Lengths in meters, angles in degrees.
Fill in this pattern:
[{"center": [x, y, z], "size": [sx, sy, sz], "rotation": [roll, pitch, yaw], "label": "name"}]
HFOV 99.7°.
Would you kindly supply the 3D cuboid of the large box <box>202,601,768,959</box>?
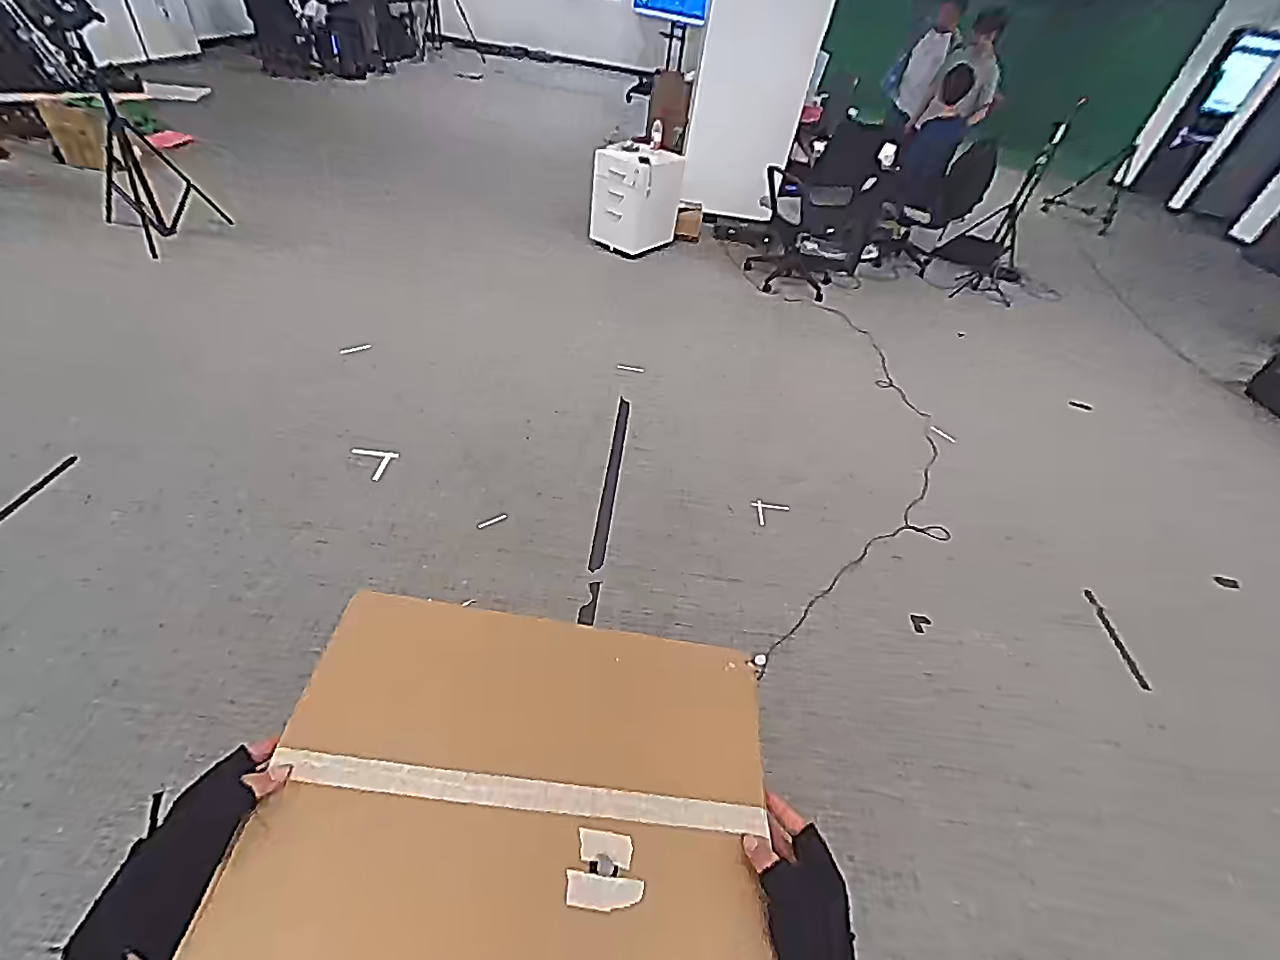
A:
[{"center": [-0.122, 0.362, 0.565], "size": [0.408, 0.320, 0.320], "rotation": [11, 47, -6], "label": "large box"}]
